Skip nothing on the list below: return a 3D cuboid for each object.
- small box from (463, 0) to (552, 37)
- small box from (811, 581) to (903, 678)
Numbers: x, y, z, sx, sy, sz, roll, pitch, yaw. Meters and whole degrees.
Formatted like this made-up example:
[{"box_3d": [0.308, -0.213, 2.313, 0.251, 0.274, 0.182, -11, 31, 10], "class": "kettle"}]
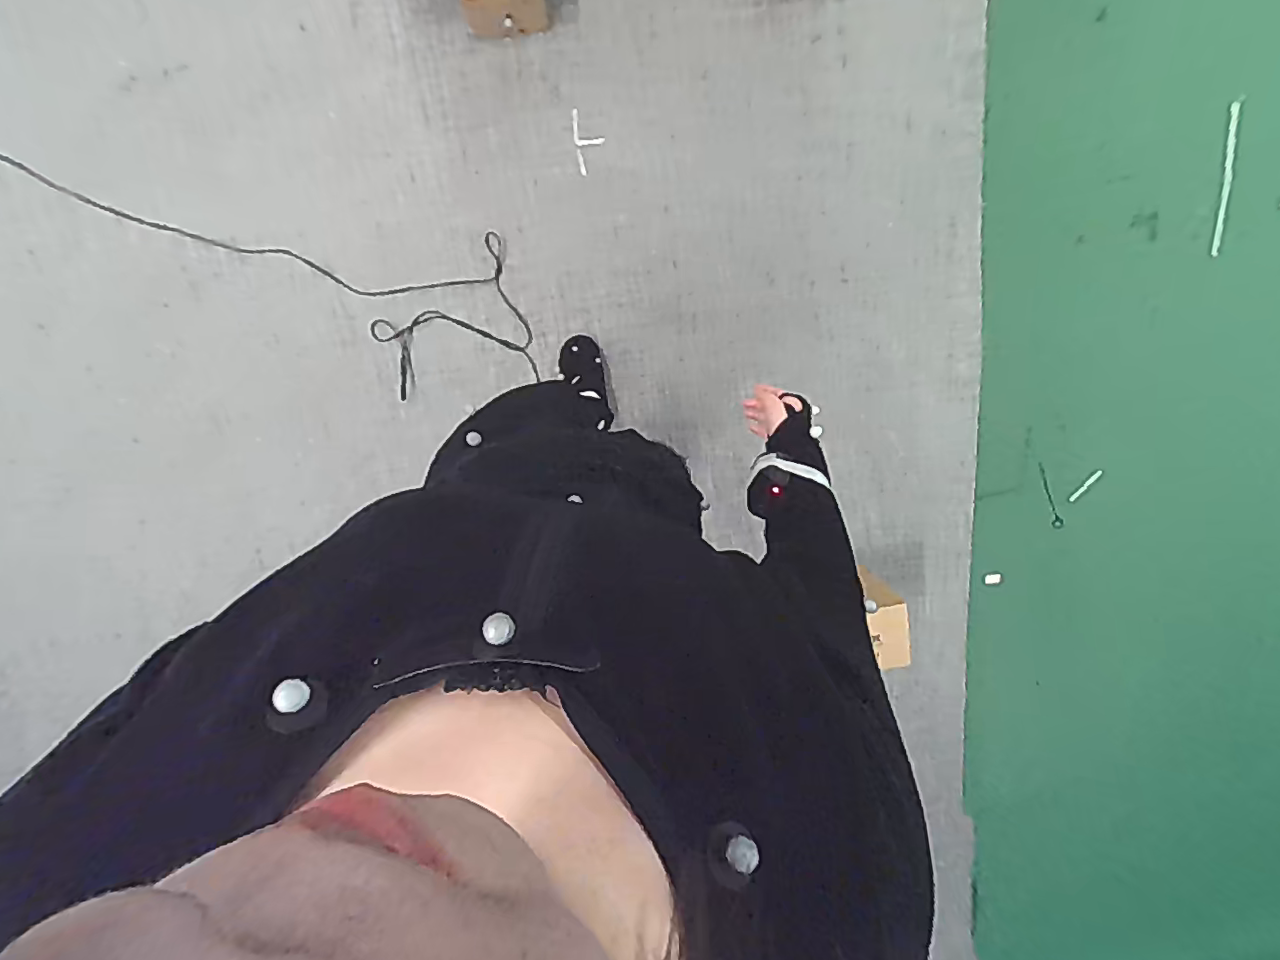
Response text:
[{"box_3d": [-0.282, -1.056, 1.117, 0.168, 0.176, 0.179, -8, 107, -1], "class": "small box"}, {"box_3d": [0.553, 0.375, 1.393, 0.168, 0.176, 0.179, -10, 106, 0], "class": "small box"}]
